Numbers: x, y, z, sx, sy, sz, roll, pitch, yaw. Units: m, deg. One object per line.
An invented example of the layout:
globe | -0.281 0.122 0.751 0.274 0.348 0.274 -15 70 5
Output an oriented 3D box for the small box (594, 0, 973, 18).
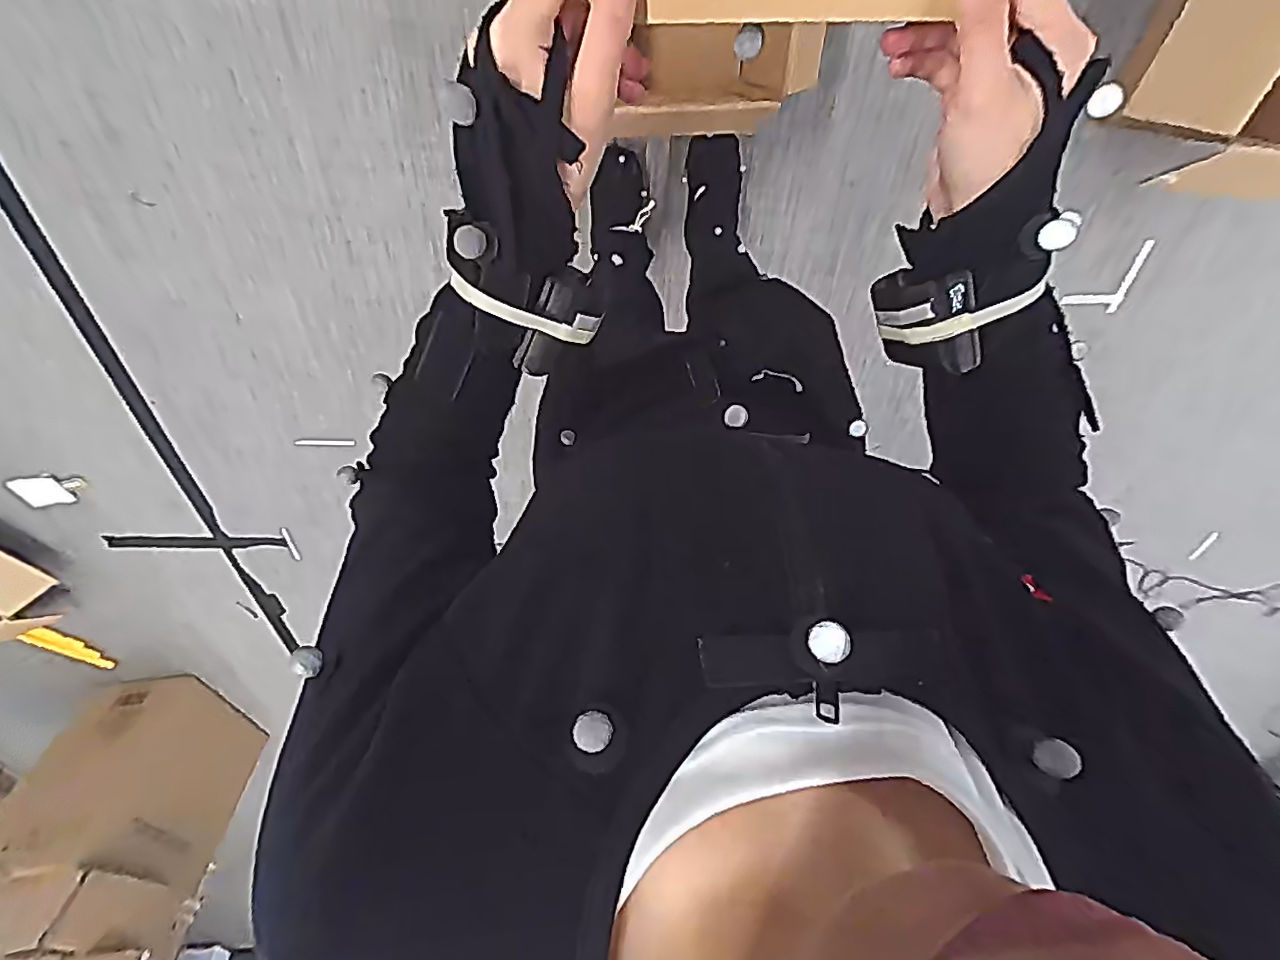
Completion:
small box | 0.061 -0.324 0.243 0.179 0.176 0.168 -3 135 -3
